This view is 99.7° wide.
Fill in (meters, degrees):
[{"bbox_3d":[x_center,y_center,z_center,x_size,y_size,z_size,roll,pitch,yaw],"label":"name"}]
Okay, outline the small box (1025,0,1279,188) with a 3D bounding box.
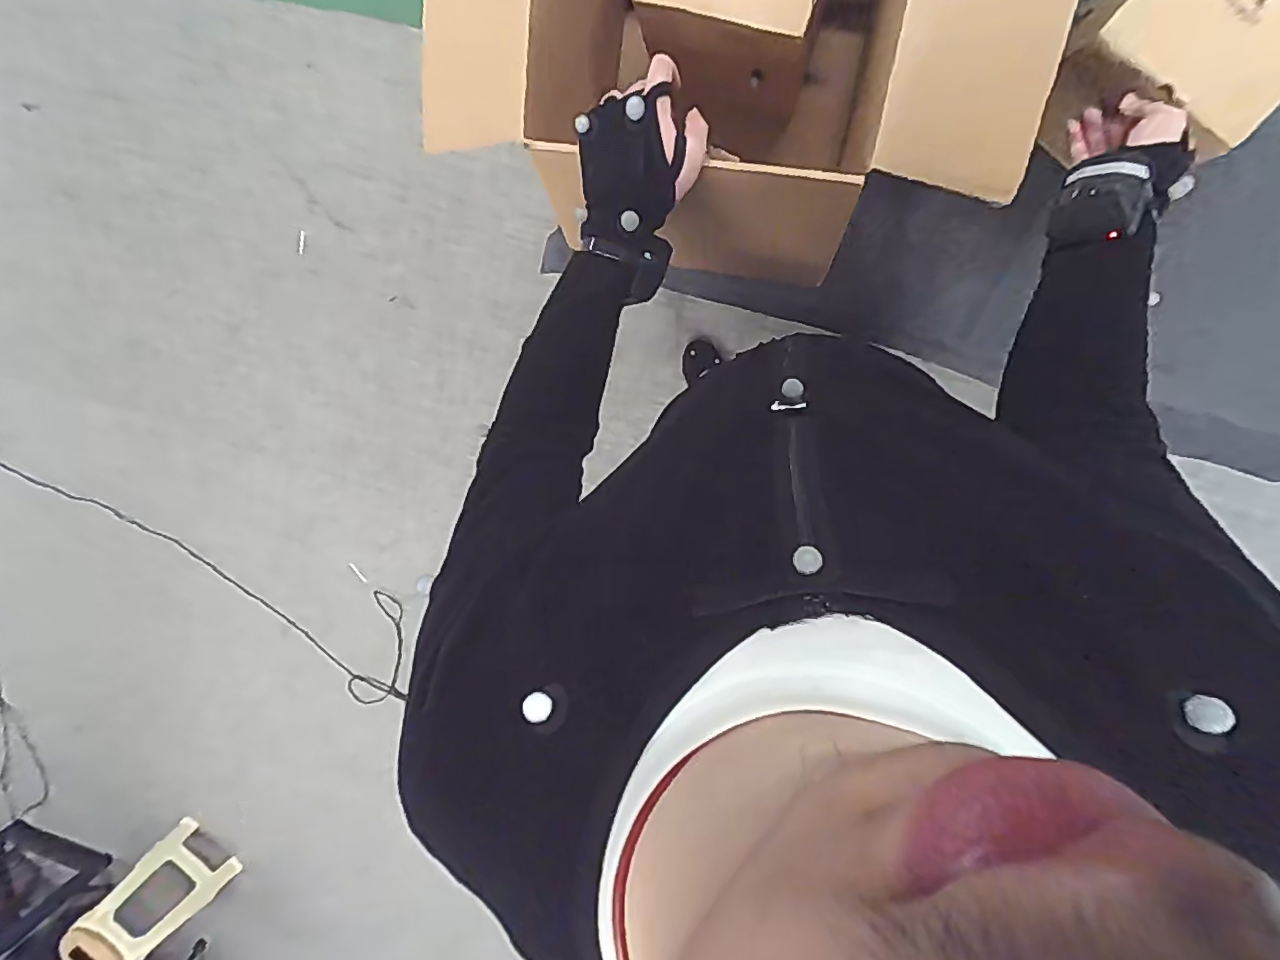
[{"bbox_3d":[0.541,-0.437,0.552,0.168,0.176,0.179,41,110,0],"label":"small box"}]
